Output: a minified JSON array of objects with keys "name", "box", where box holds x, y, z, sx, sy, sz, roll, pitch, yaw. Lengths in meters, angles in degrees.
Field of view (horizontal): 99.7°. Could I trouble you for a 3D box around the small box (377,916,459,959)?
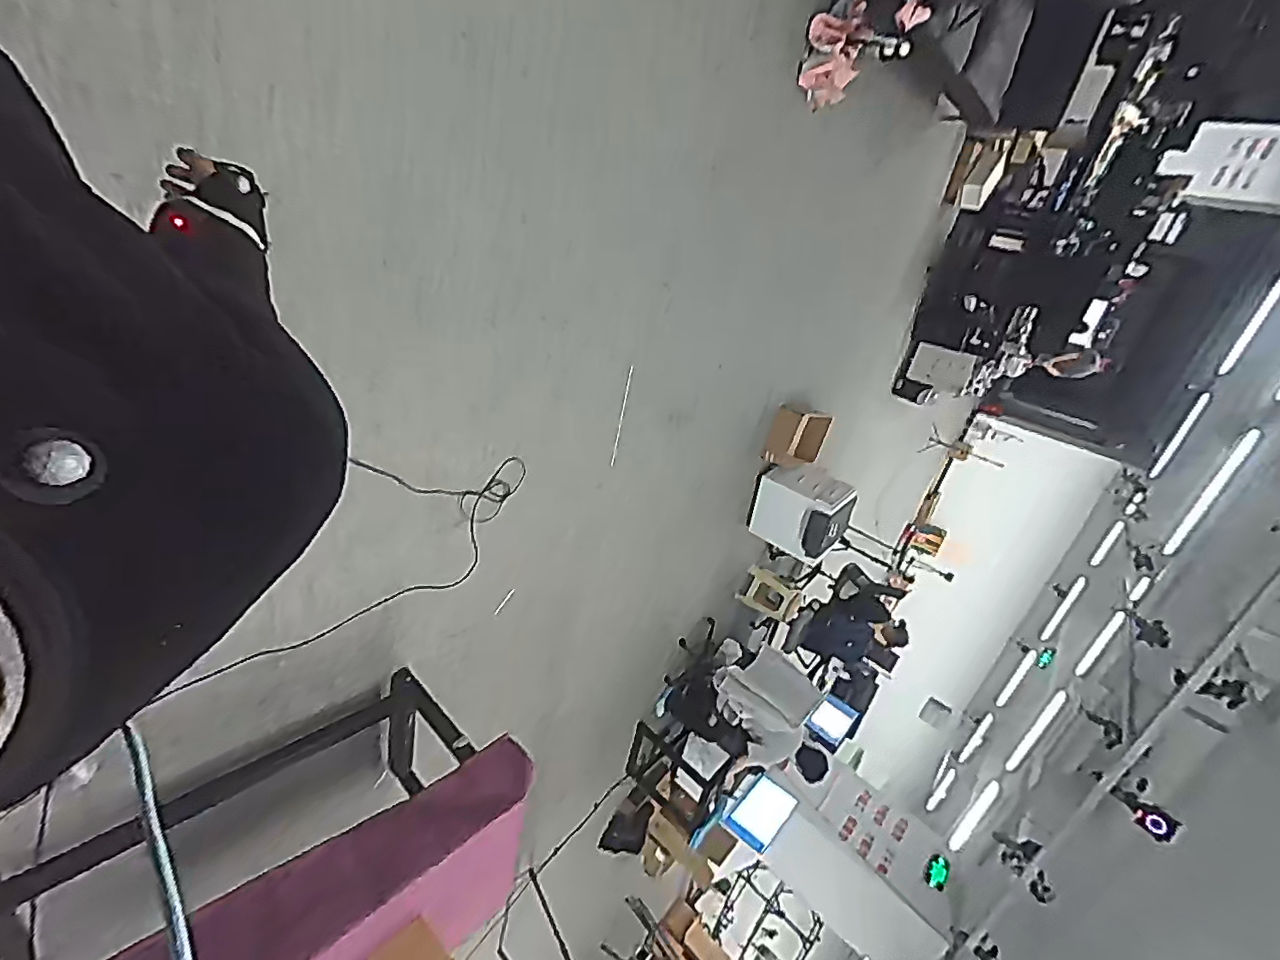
[{"name":"small box","box":[-0.624,1.382,1.506,0.179,0.176,0.168,-17,128,-46]}]
